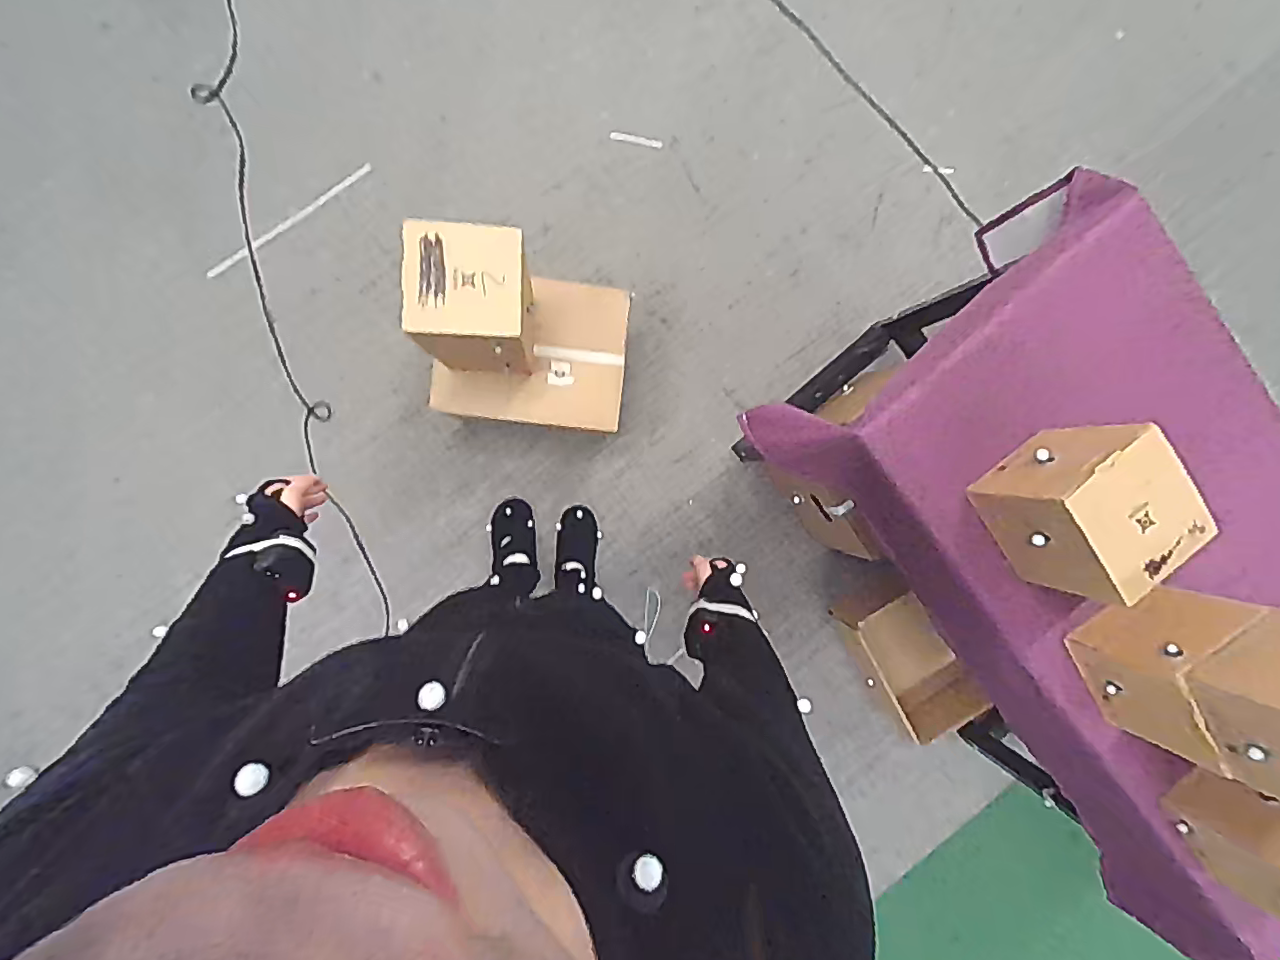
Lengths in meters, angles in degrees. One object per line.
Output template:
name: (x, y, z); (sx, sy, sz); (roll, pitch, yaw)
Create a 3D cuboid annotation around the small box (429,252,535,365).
small box: (-0.297, -0.321, 1.048); (0.179, 0.176, 0.168); (2, 91, -7)

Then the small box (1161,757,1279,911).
small box: (0.974, 0.537, 0.839); (0.179, 0.176, 0.168); (-36, 97, -5)

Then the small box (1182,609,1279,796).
small box: (0.822, 0.279, 0.642); (0.179, 0.176, 0.168); (-30, 96, -4)

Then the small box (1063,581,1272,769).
small box: (0.795, 0.272, 0.804); (0.179, 0.176, 0.168); (-31, 96, -4)

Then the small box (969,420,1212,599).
small box: (0.618, 0.036, 0.766); (0.168, 0.176, 0.179); (-36, 96, -4)

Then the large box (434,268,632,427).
large box: (-0.249, -0.305, 1.303); (0.408, 0.320, 0.320); (6, 93, -8)
